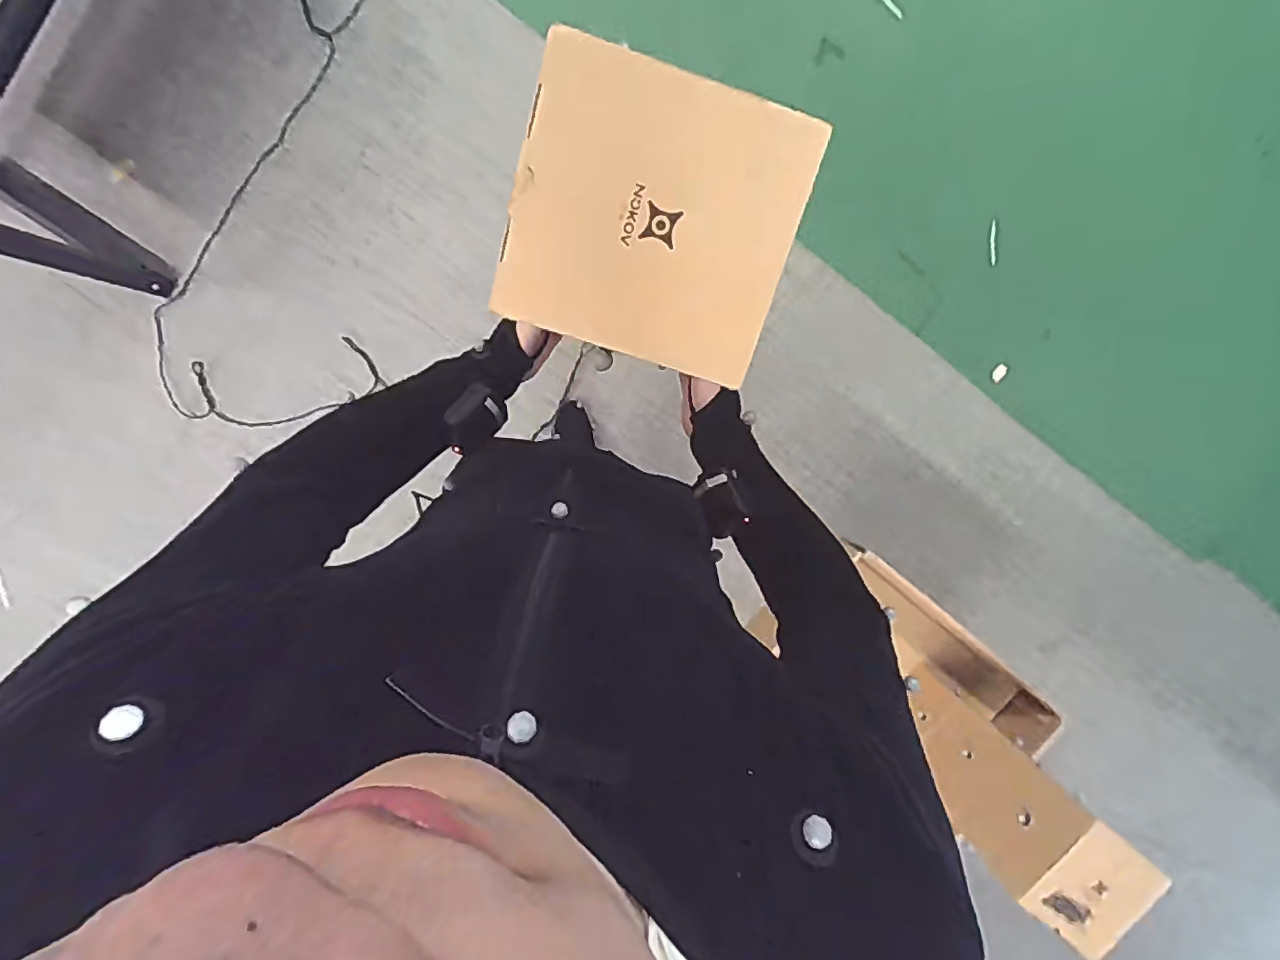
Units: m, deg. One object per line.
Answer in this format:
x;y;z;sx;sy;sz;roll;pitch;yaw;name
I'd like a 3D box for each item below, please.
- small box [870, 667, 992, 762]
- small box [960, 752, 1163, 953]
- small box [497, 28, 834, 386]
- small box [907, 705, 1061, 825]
0.662;0.562;1.223;0.168;0.176;0.179;42;94;-6;small box
0.676;0.603;0.897;0.168;0.176;0.179;40;93;-6;small box
0.011;-0.183;0.414;0.179;0.176;0.168;16;105;-5;small box
0.670;0.584;1.061;0.168;0.176;0.179;41;93;-5;small box
